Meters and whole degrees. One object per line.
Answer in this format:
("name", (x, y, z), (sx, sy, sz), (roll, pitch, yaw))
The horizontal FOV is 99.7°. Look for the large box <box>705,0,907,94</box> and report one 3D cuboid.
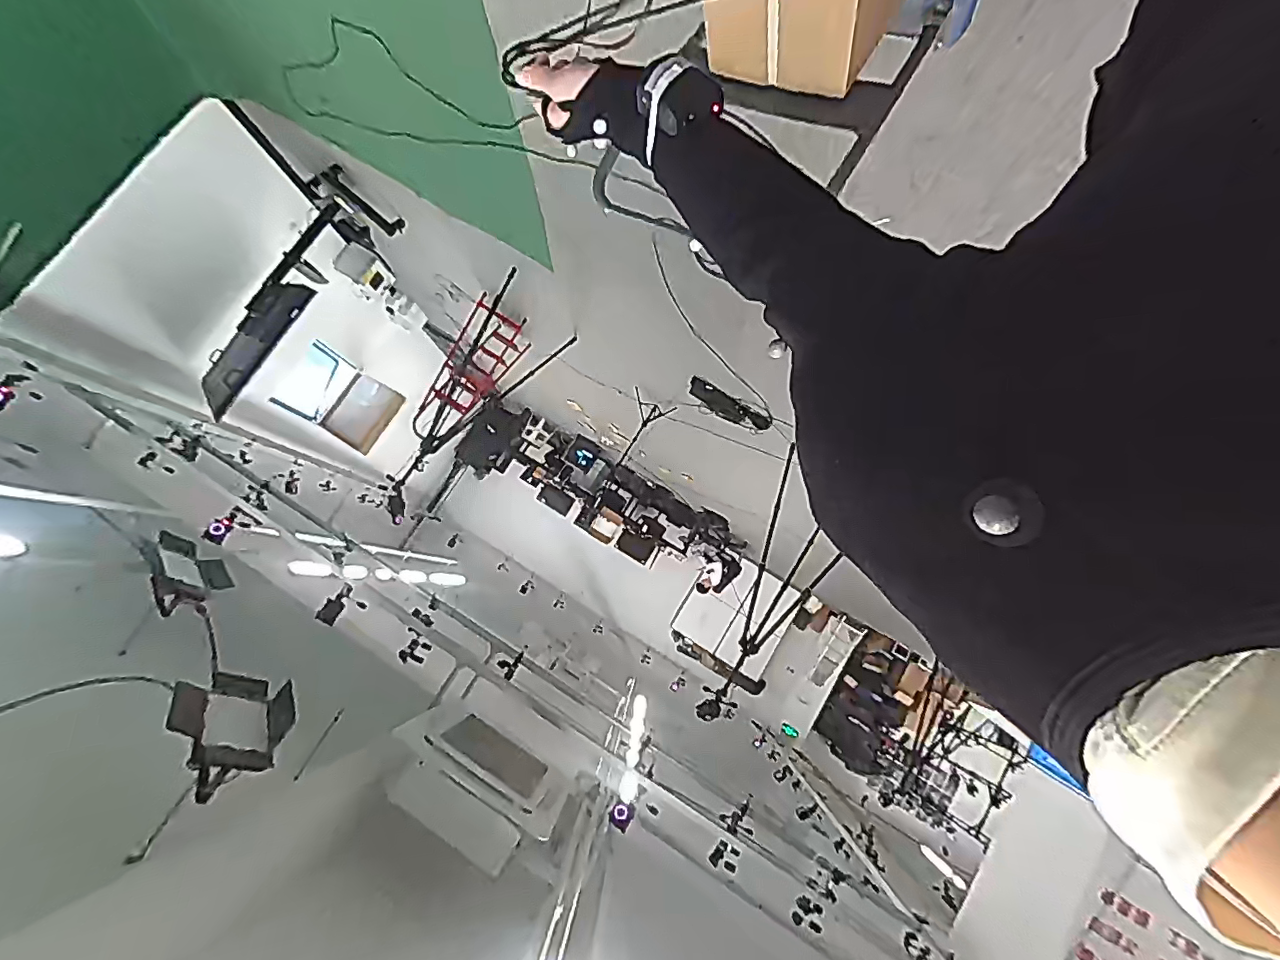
("large box", (0.315, -1.013, 0.961), (0.320, 0.320, 0.408), (28, 169, 21))
